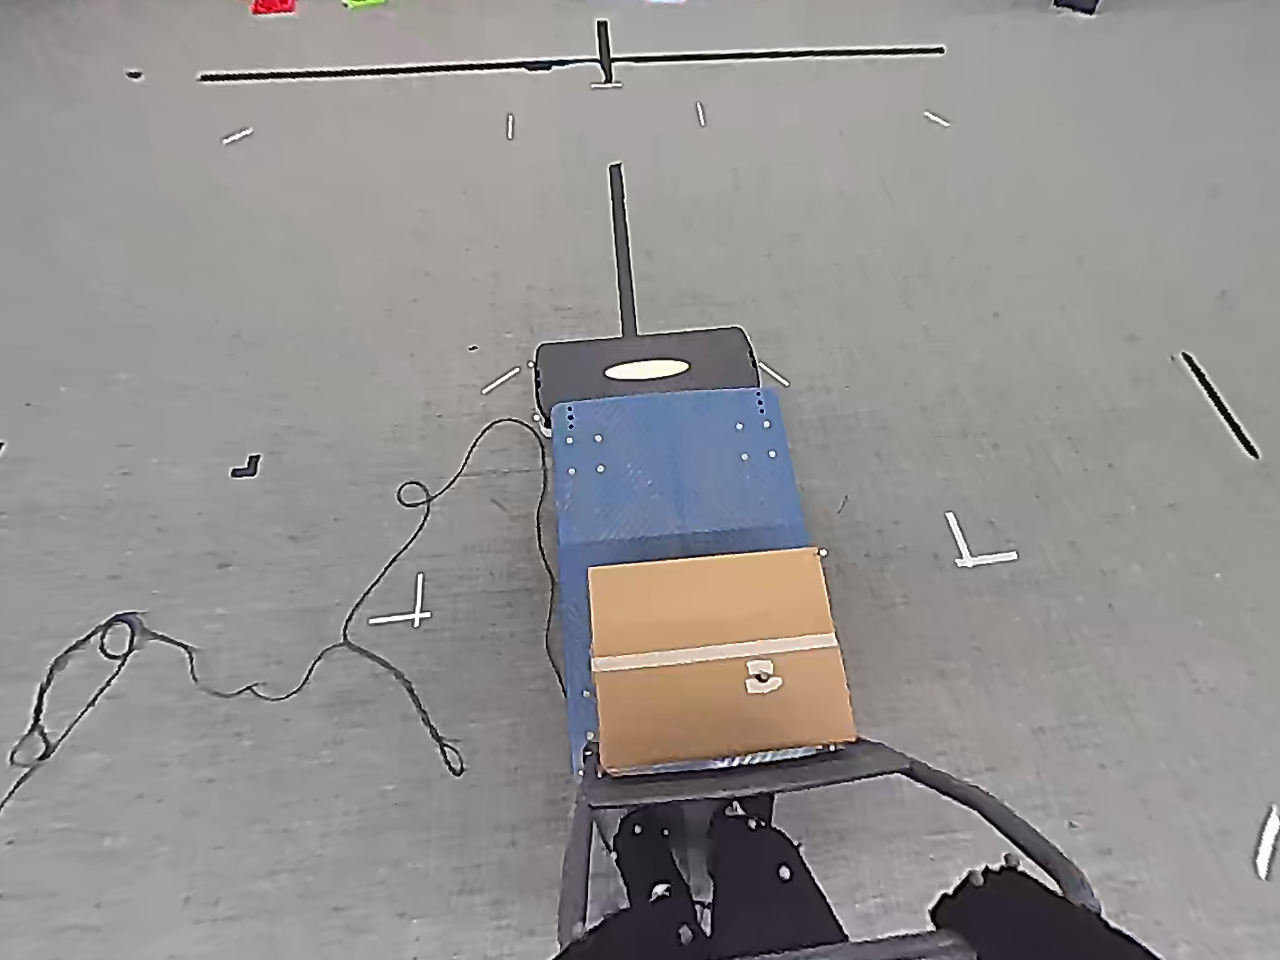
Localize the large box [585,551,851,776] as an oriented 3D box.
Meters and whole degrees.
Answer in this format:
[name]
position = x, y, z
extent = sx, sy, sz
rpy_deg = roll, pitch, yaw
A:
[large box]
position = 0.114, 0.332, 1.022
extent = 0.408, 0.320, 0.320
rpy_deg = -5, 74, -5
